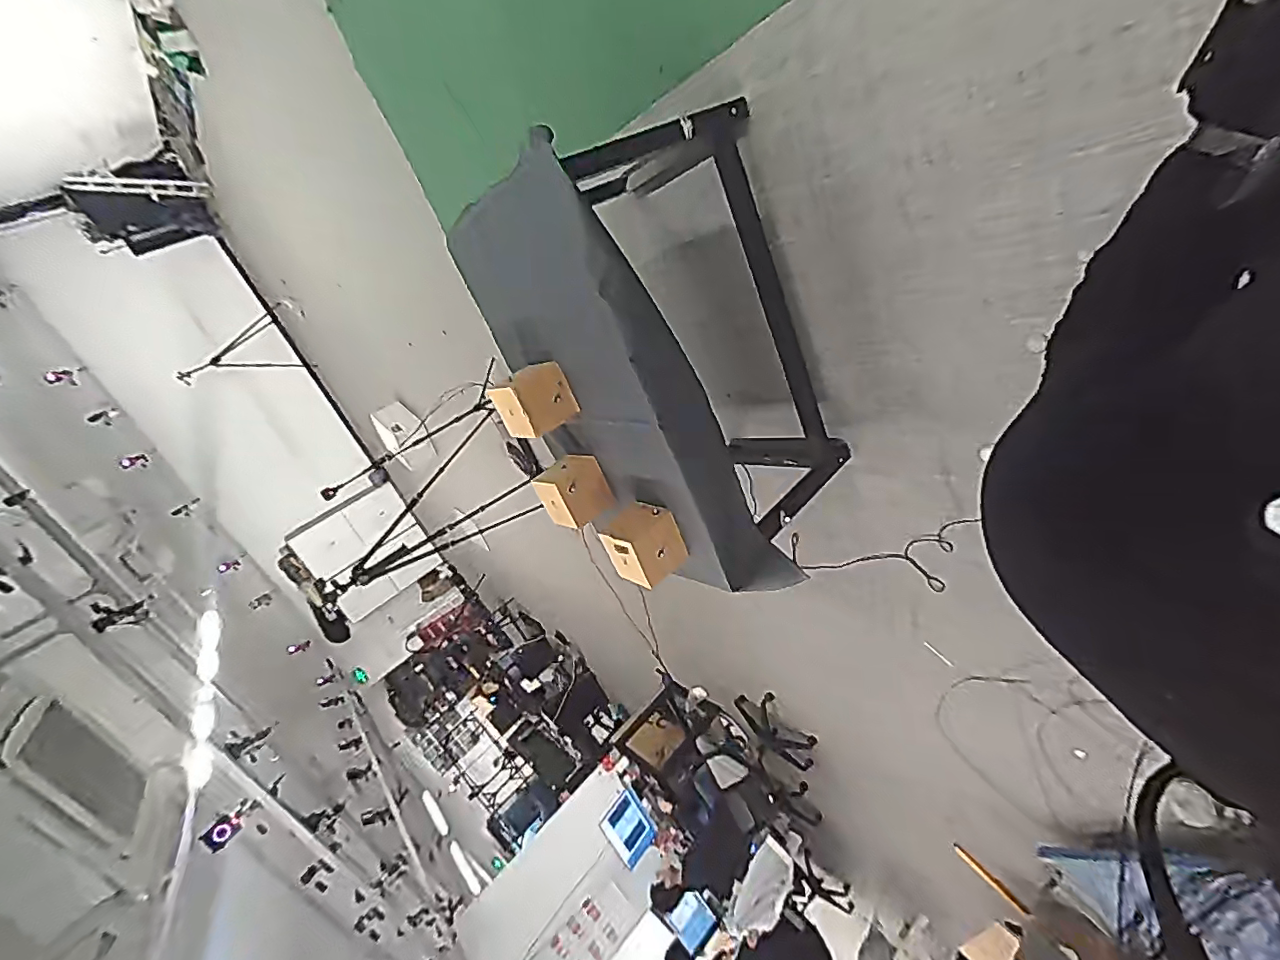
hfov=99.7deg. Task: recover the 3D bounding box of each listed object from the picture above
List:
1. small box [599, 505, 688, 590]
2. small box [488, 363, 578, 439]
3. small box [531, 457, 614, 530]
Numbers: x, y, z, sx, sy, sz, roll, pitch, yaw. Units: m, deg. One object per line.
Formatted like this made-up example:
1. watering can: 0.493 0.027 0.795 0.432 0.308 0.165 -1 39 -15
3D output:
1. small box: 0.013 0.194 1.616 0.168 0.176 0.179 11 132 51
2. small box: -0.315 -0.235 1.610 0.179 0.176 0.168 8 128 50
3. small box: -0.216 0.037 1.763 0.168 0.176 0.179 6 128 51
